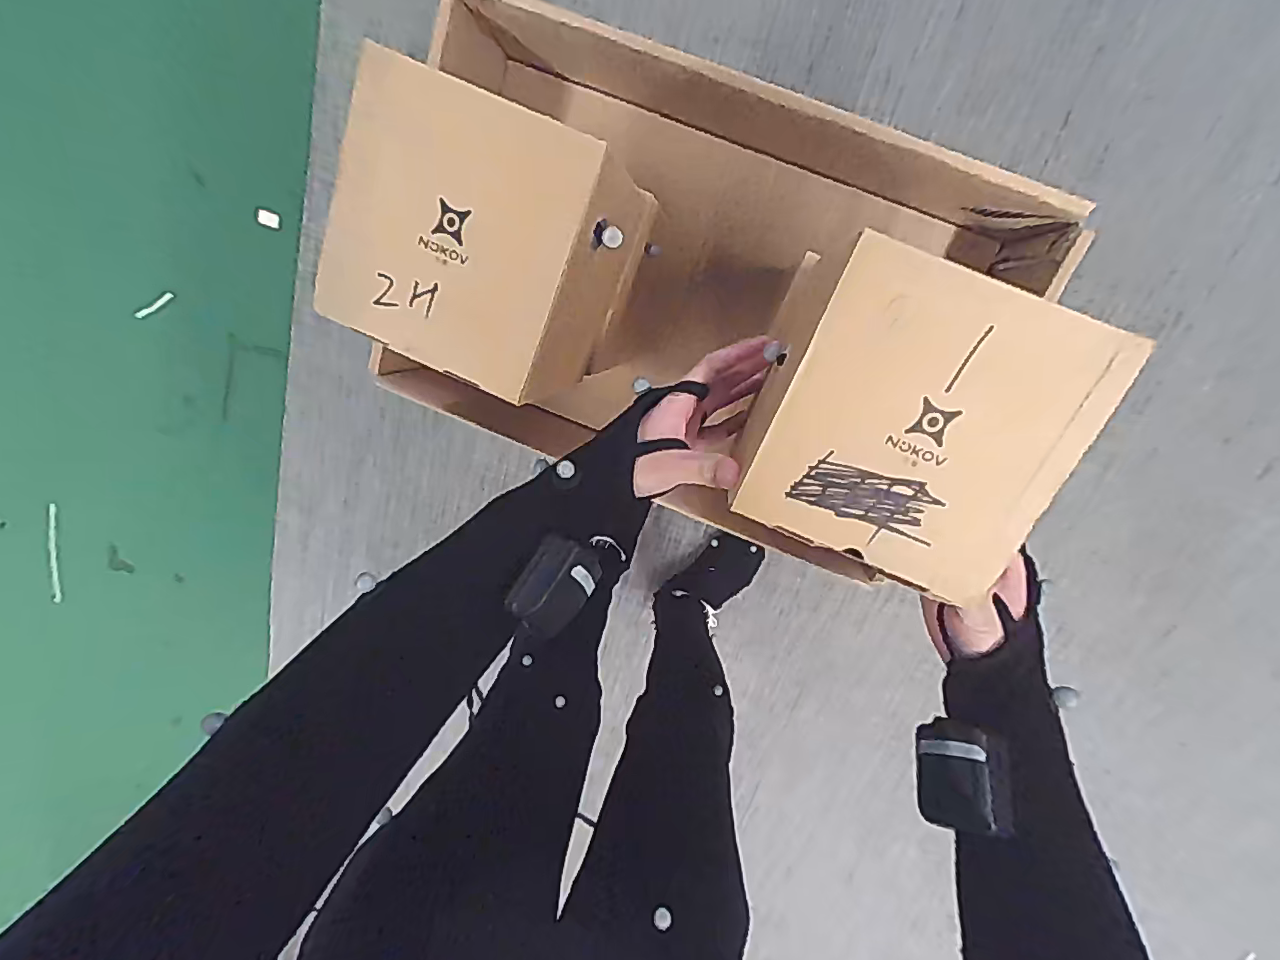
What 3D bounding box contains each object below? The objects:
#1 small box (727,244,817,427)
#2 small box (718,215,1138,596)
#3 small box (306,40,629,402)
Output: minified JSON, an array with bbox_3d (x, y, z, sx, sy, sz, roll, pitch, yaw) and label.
[{"bbox_3d":[0.198,-0.124,0.569,0.168,0.176,0.179,22,110,2],"label":"small box"},{"bbox_3d":[0.168,-0.056,0.384,0.168,0.176,0.179,23,109,2],"label":"small box"},{"bbox_3d":[-0.118,-0.184,0.430,0.168,0.176,0.179,24,109,3],"label":"small box"}]
